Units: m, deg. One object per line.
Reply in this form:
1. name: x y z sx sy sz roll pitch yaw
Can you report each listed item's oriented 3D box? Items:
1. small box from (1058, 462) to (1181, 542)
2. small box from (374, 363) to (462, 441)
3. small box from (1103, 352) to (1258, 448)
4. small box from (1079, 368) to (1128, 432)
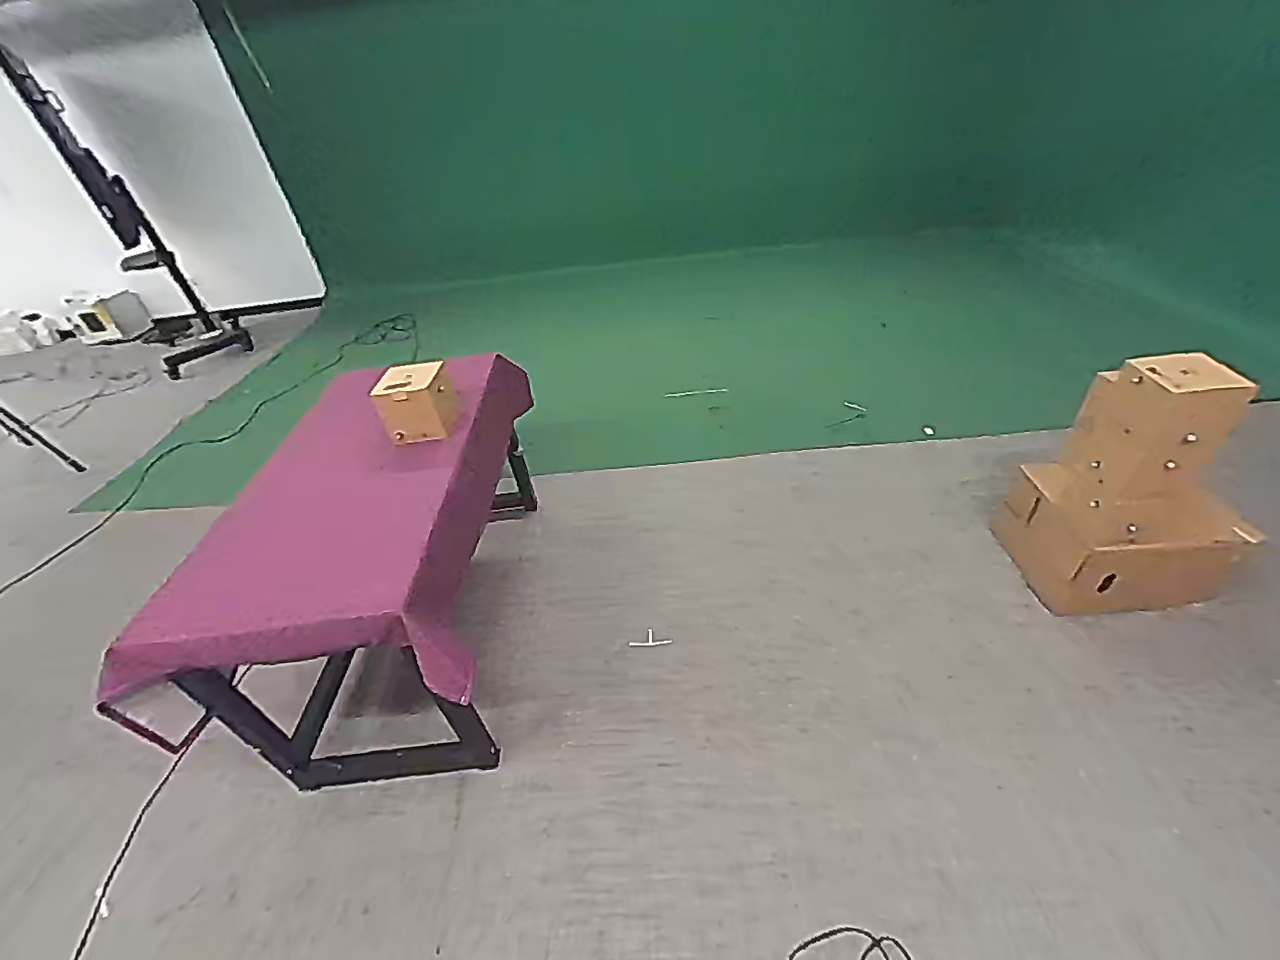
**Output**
1. small box: 1.329 0.062 1.515 0.168 0.176 0.179 -4 39 5
2. small box: -0.647 -0.225 1.600 0.168 0.176 0.179 -6 37 4
3. small box: 1.294 -0.193 1.312 0.179 0.176 0.168 -4 39 5
4. small box: 1.454 -0.216 1.585 0.168 0.176 0.179 -5 37 1
